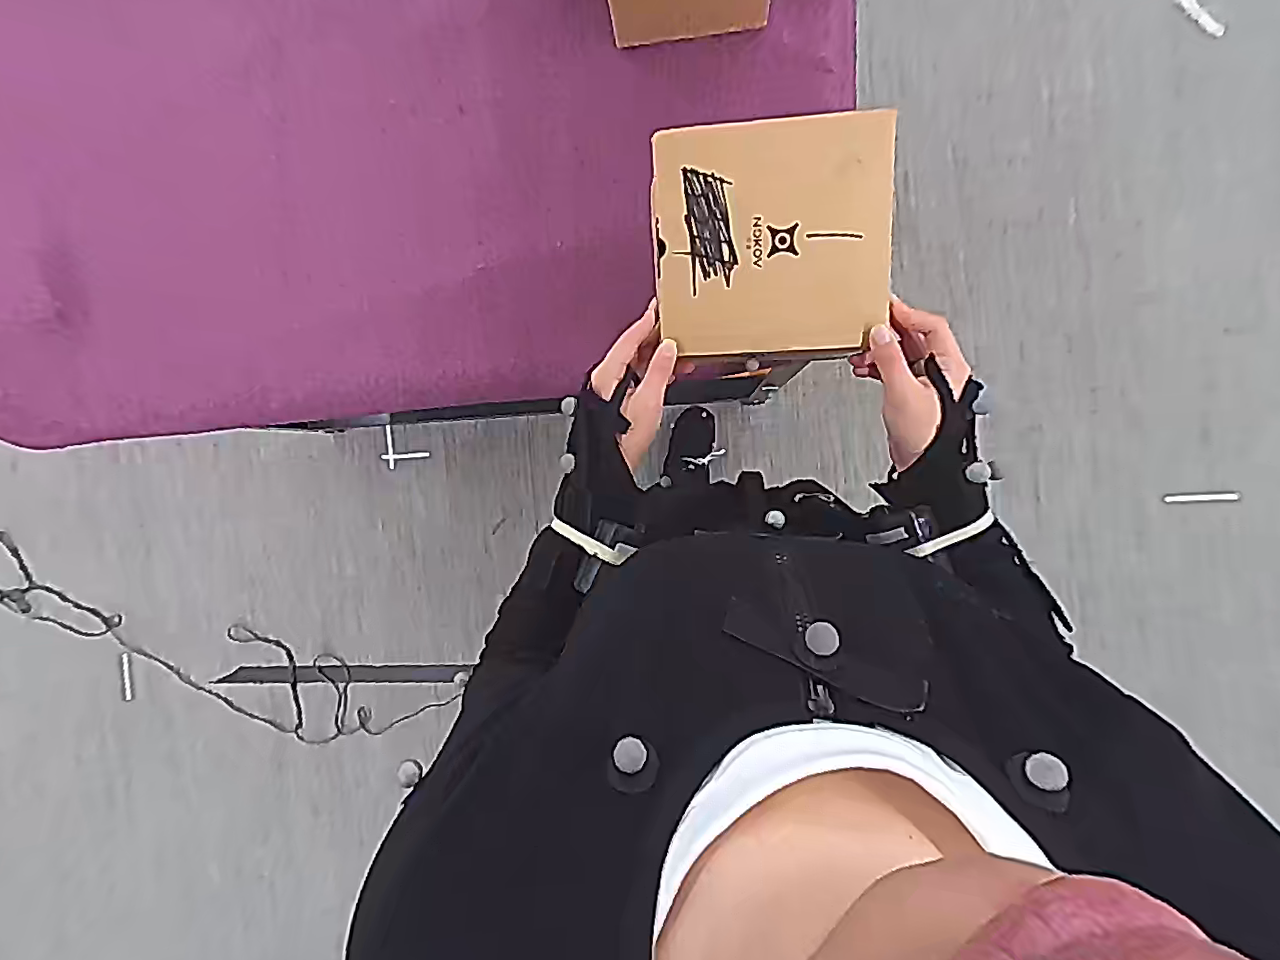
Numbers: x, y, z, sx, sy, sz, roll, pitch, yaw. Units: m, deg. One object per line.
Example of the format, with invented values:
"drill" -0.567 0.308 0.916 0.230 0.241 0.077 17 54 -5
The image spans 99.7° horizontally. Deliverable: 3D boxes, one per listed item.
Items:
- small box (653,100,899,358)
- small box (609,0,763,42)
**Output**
"small box" 0.109 -0.198 0.480 0.179 0.176 0.168 -1 100 8
"small box" 0.047 -0.590 0.541 0.179 0.176 0.168 -3 93 6
